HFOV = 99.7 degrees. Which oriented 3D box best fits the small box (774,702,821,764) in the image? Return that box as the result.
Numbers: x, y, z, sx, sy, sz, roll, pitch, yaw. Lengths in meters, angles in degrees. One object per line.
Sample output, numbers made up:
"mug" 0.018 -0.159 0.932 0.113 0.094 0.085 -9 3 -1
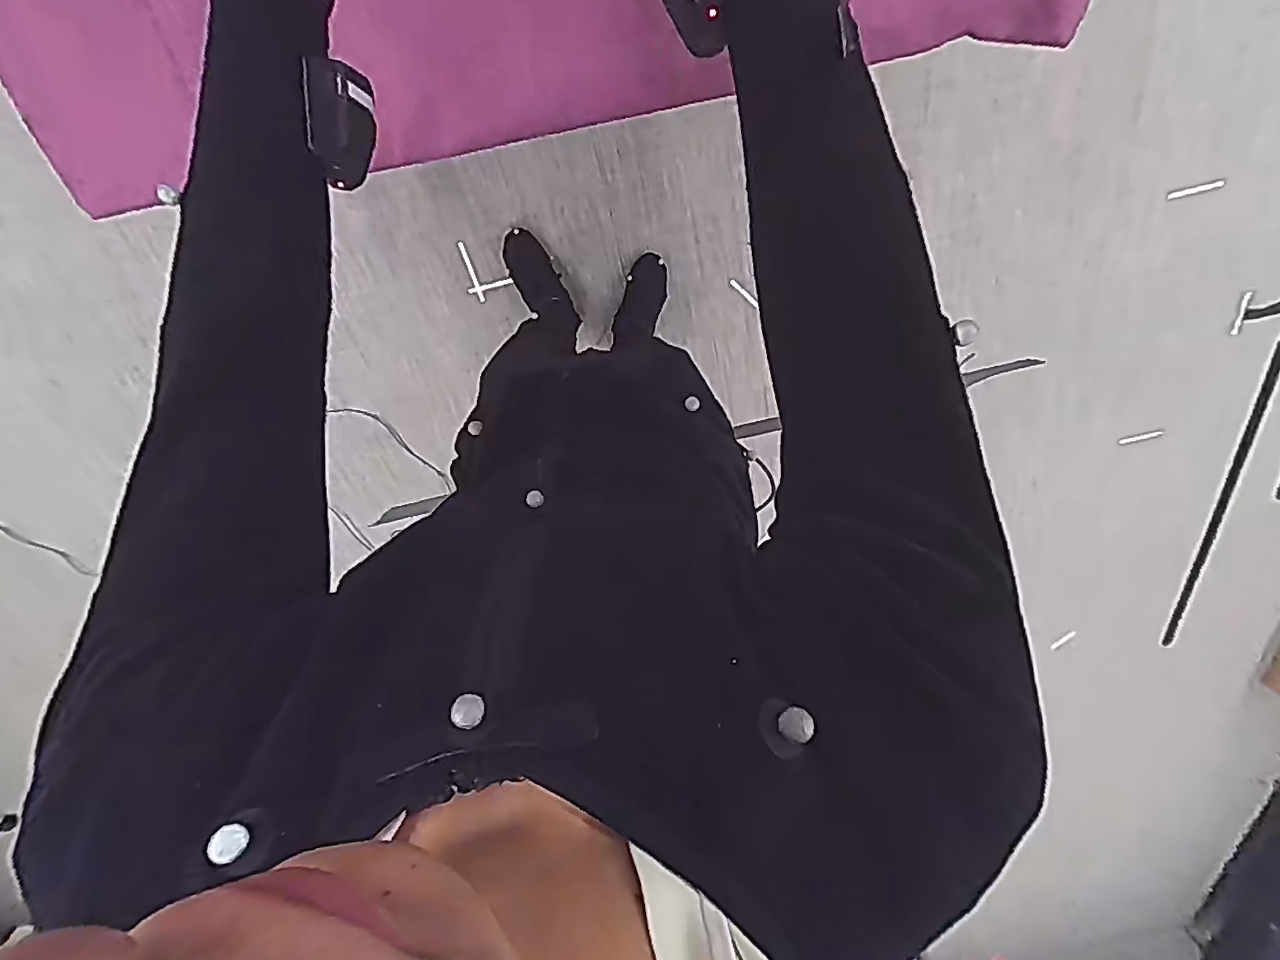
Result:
"small box" 0.725 1.145 2.452 0.168 0.176 0.179 -20 120 4
